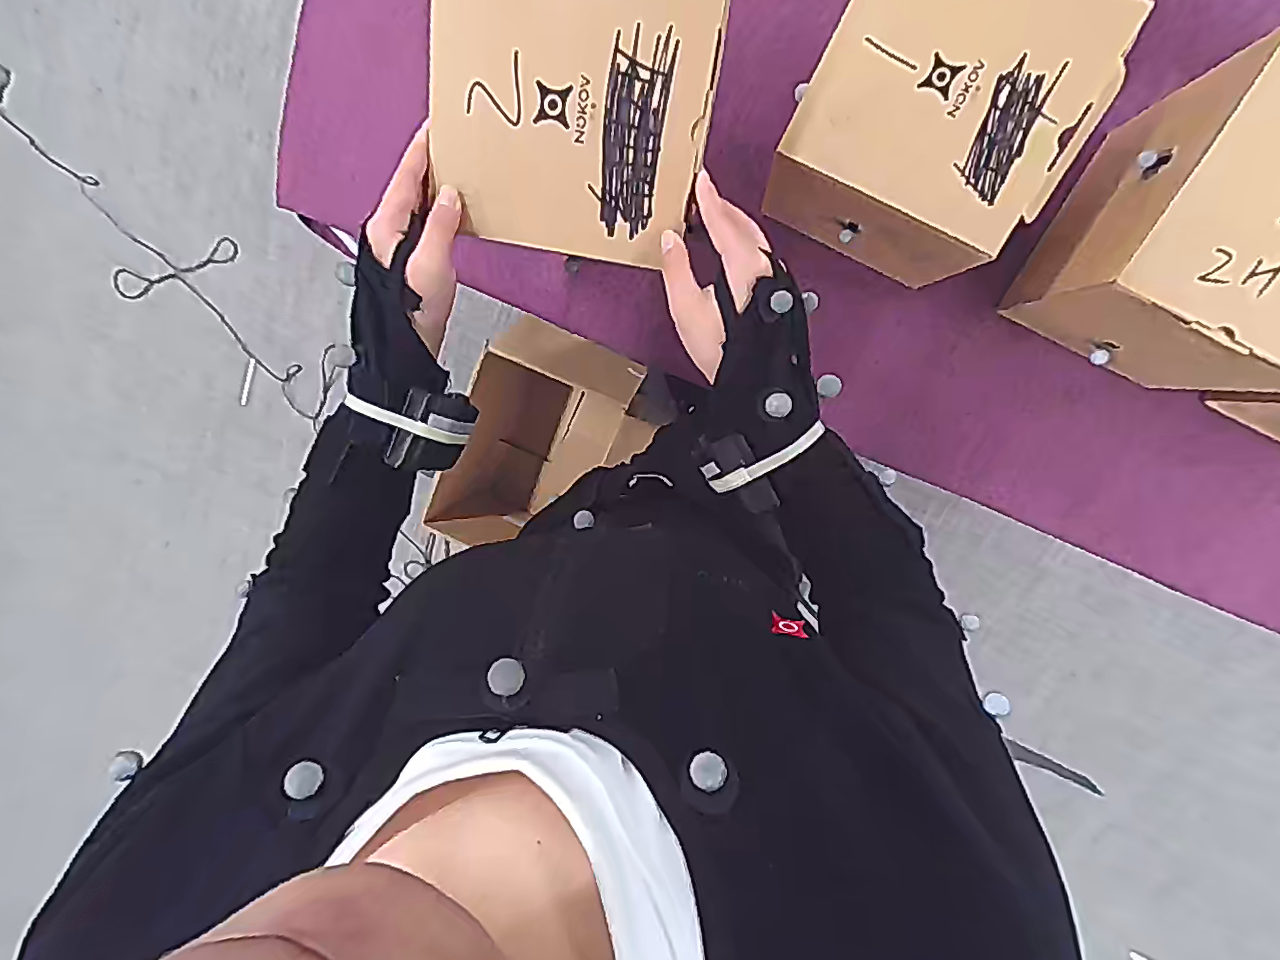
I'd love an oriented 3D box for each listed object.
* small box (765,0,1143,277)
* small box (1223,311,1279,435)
[{"bbox_3d":[0.220,-0.282,0.441,0.179,0.176,0.168,28,105,3],"label":"small box"},{"bbox_3d":[0.634,-0.099,0.410,0.168,0.176,0.179,28,104,3],"label":"small box"}]
